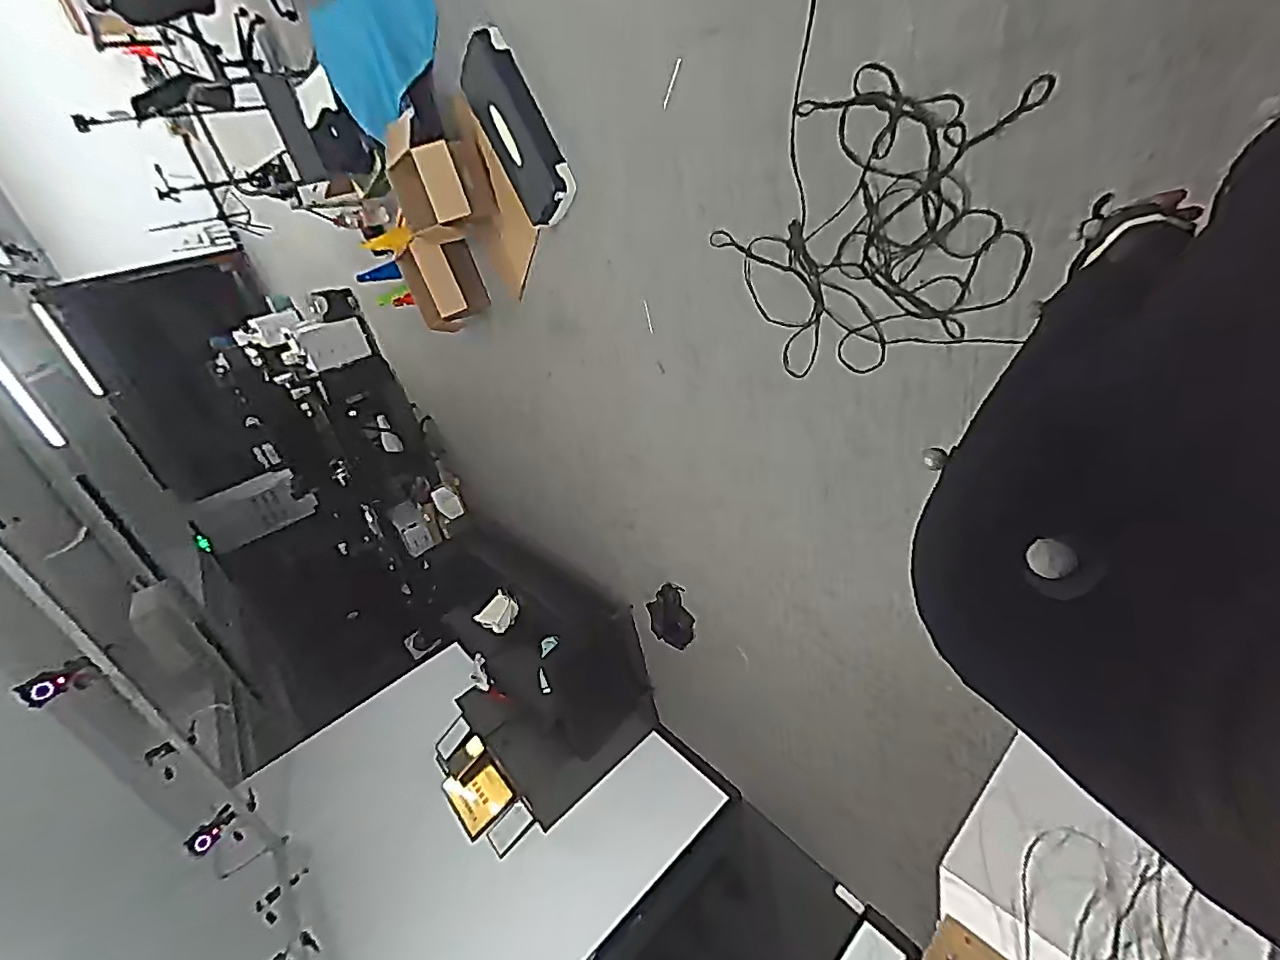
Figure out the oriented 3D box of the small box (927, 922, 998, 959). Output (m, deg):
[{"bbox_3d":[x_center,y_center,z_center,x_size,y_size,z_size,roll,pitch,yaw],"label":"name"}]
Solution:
[{"bbox_3d":[0.792,1.236,1.309,0.168,0.176,0.179,21,133,48],"label":"small box"}]
